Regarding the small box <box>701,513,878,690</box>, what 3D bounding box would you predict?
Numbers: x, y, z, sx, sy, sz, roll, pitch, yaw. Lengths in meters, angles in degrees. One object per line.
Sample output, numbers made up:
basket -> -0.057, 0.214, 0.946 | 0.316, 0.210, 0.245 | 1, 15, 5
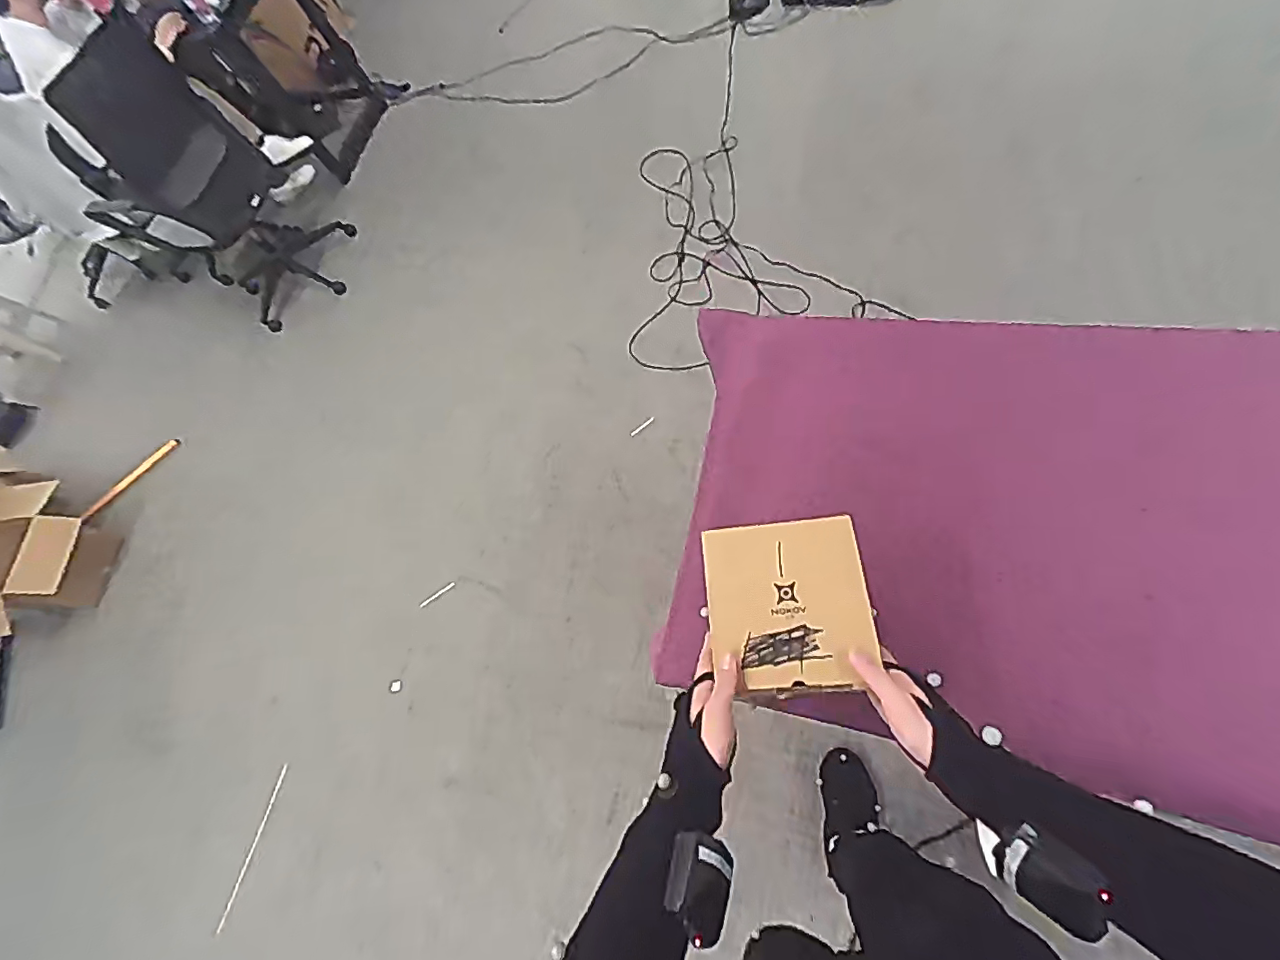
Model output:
small box -> 0.168, 0.154, 0.643 | 0.168, 0.176, 0.179 | -6, 65, 10
